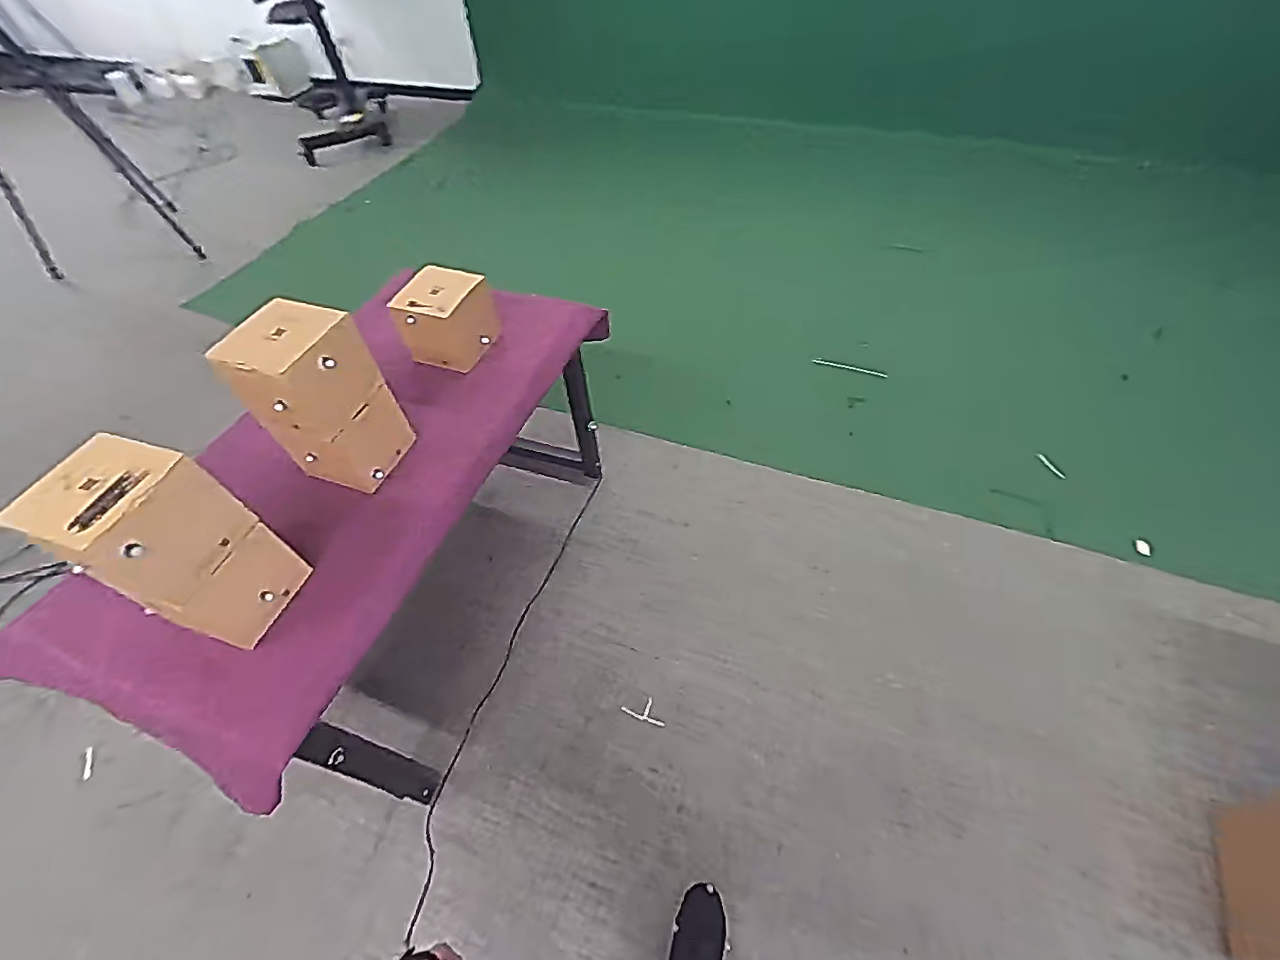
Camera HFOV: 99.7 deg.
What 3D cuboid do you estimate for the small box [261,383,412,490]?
[{"bbox_3d":[-0.609,-0.100,1.113,0.179,0.176,0.168,14,54,14],"label":"small box"}]

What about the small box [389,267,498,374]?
[{"bbox_3d":[-0.470,-0.393,1.333,0.168,0.176,0.179,15,55,15],"label":"small box"}]

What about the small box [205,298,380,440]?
[{"bbox_3d":[-0.613,-0.199,0.984,0.168,0.176,0.179,15,54,13],"label":"small box"}]

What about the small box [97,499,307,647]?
[{"bbox_3d":[-0.723,0.161,0.915,0.179,0.176,0.168,14,54,13],"label":"small box"}]
